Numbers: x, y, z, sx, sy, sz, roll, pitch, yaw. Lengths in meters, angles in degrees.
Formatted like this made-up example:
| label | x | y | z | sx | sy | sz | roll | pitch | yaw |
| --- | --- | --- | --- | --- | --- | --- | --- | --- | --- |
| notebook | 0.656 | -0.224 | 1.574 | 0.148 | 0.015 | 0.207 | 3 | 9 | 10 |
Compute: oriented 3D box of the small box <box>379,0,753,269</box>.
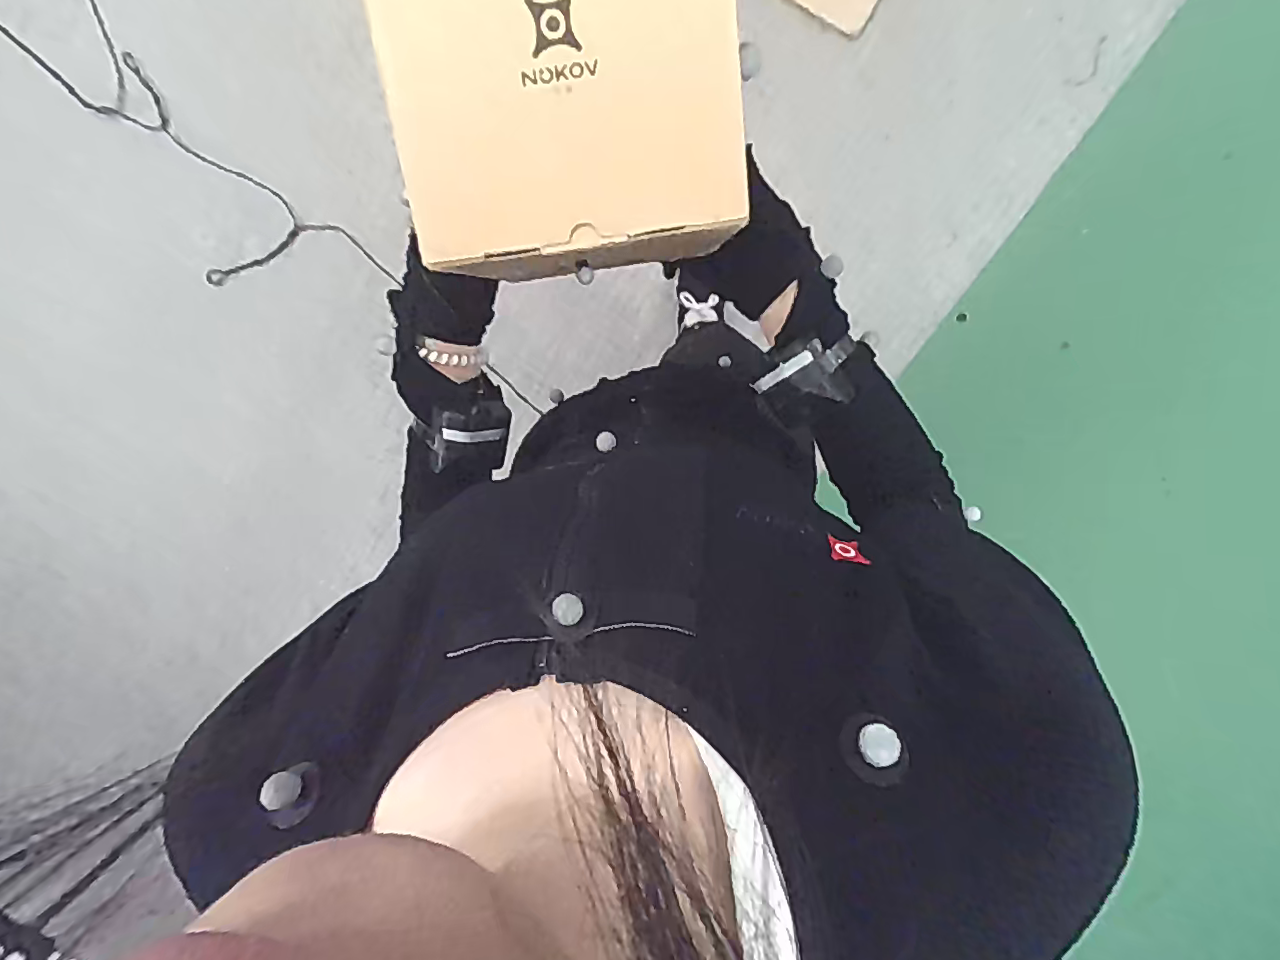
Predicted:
| label | x | y | z | sx | sy | sz | roll | pitch | yaw |
| --- | --- | --- | --- | --- | --- | --- | --- | --- | --- |
| small box | -0.034 | -0.230 | 0.320 | 0.168 | 0.176 | 0.179 | -7 | 109 | 3 |
